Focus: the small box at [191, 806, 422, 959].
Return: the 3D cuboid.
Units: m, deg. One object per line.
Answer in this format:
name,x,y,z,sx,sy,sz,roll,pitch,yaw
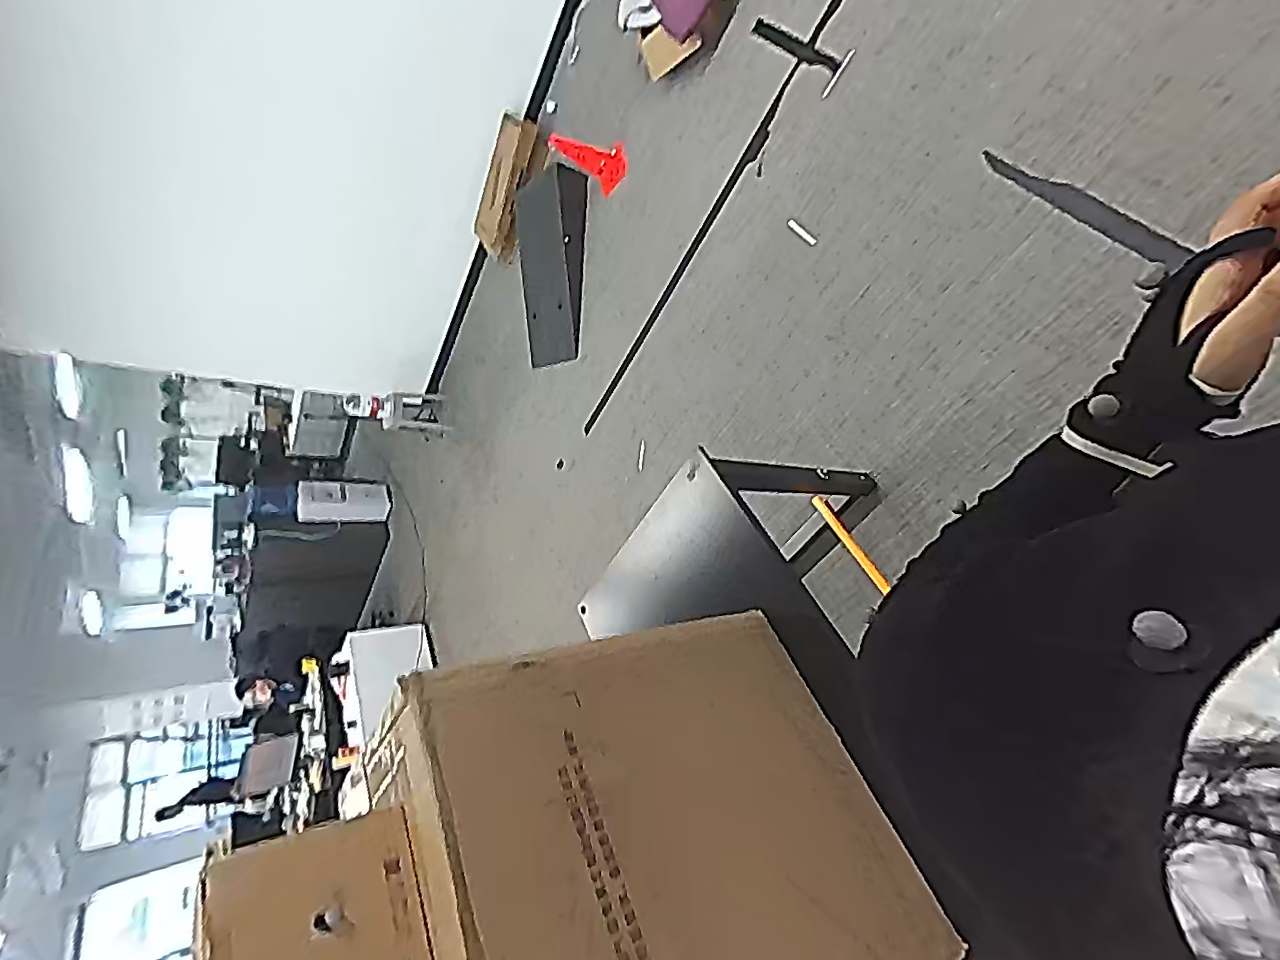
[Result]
small box,-0.322,0.457,0.527,0.179,0.176,0.168,-58,48,29
